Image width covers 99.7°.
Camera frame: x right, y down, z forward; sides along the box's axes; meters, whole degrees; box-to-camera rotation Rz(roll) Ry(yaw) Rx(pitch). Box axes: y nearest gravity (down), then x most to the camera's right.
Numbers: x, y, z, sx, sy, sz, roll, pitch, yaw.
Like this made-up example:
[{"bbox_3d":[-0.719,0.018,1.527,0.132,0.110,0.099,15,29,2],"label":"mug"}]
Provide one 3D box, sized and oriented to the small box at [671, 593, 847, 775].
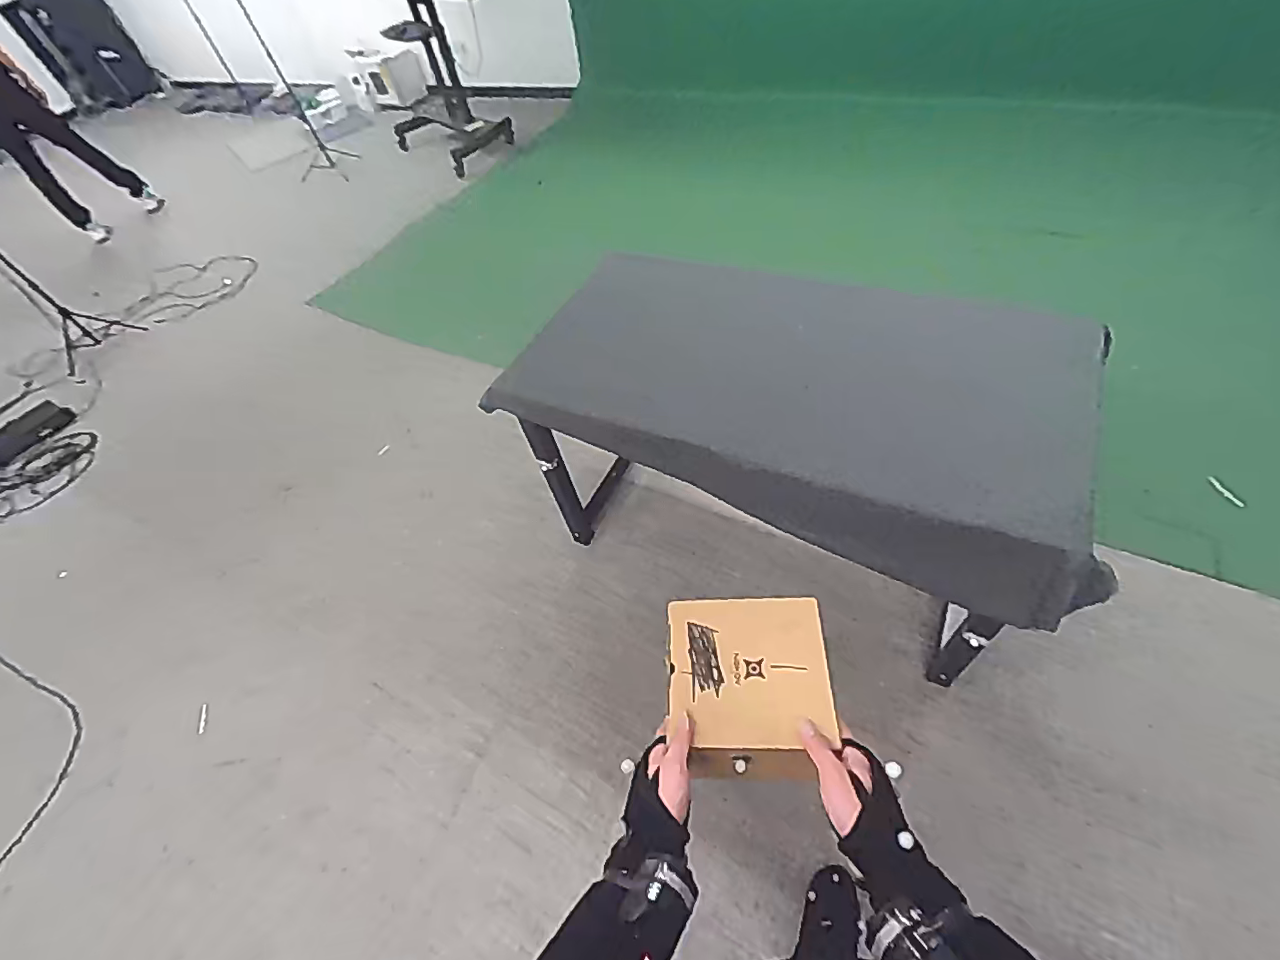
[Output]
[{"bbox_3d":[0.134,0.248,0.650,0.179,0.176,0.168,-2,52,7],"label":"small box"}]
